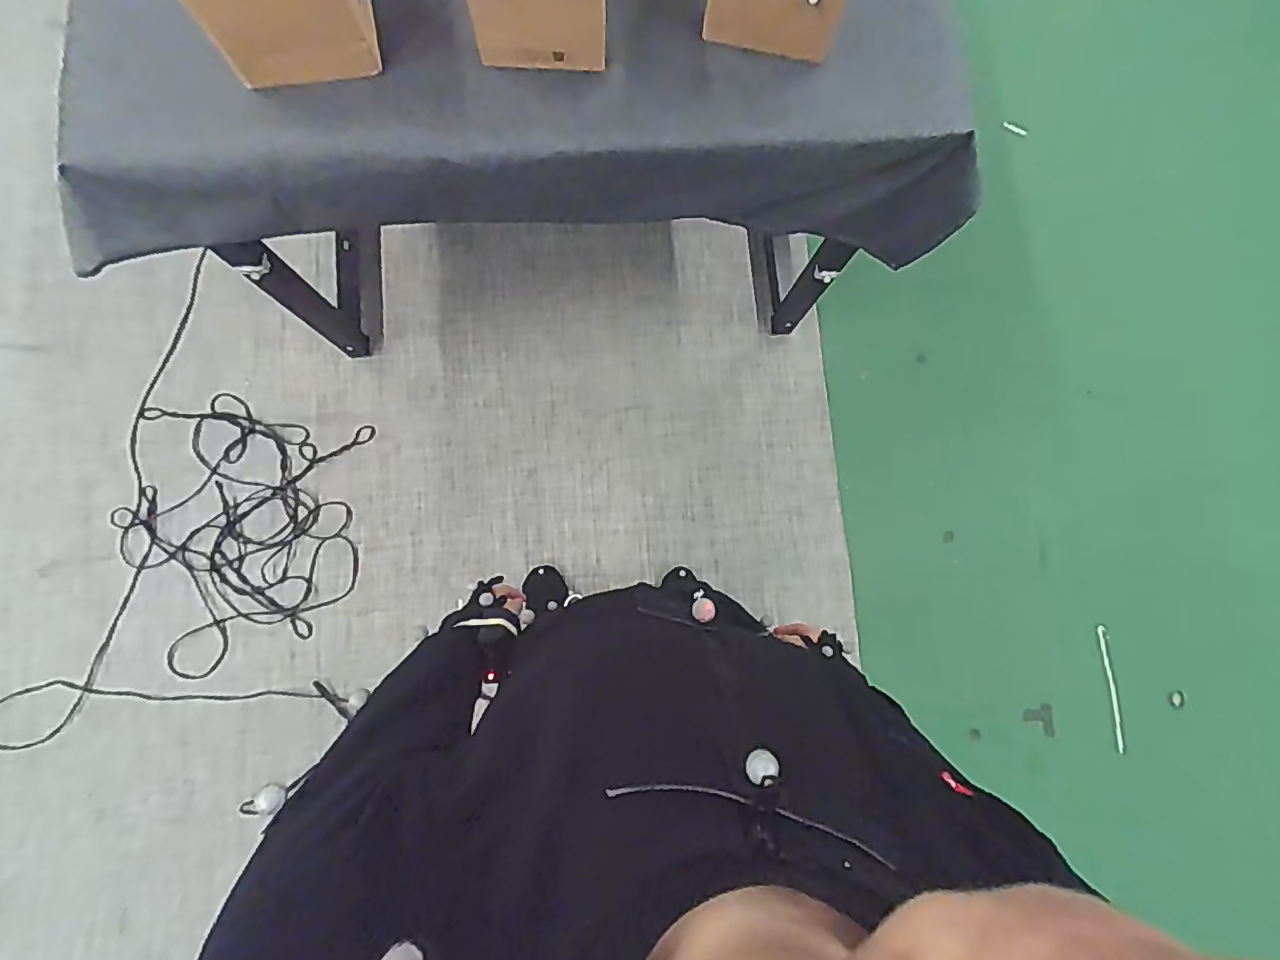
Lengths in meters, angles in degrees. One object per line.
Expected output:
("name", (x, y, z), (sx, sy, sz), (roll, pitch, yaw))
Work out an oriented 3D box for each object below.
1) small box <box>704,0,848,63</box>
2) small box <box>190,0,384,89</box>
("small box", (0.191, -0.688, 0.696), (0.179, 0.176, 0.168), (9, 80, -1))
("small box", (-0.435, -0.609, 0.645), (0.179, 0.176, 0.168), (-11, 82, -6))
